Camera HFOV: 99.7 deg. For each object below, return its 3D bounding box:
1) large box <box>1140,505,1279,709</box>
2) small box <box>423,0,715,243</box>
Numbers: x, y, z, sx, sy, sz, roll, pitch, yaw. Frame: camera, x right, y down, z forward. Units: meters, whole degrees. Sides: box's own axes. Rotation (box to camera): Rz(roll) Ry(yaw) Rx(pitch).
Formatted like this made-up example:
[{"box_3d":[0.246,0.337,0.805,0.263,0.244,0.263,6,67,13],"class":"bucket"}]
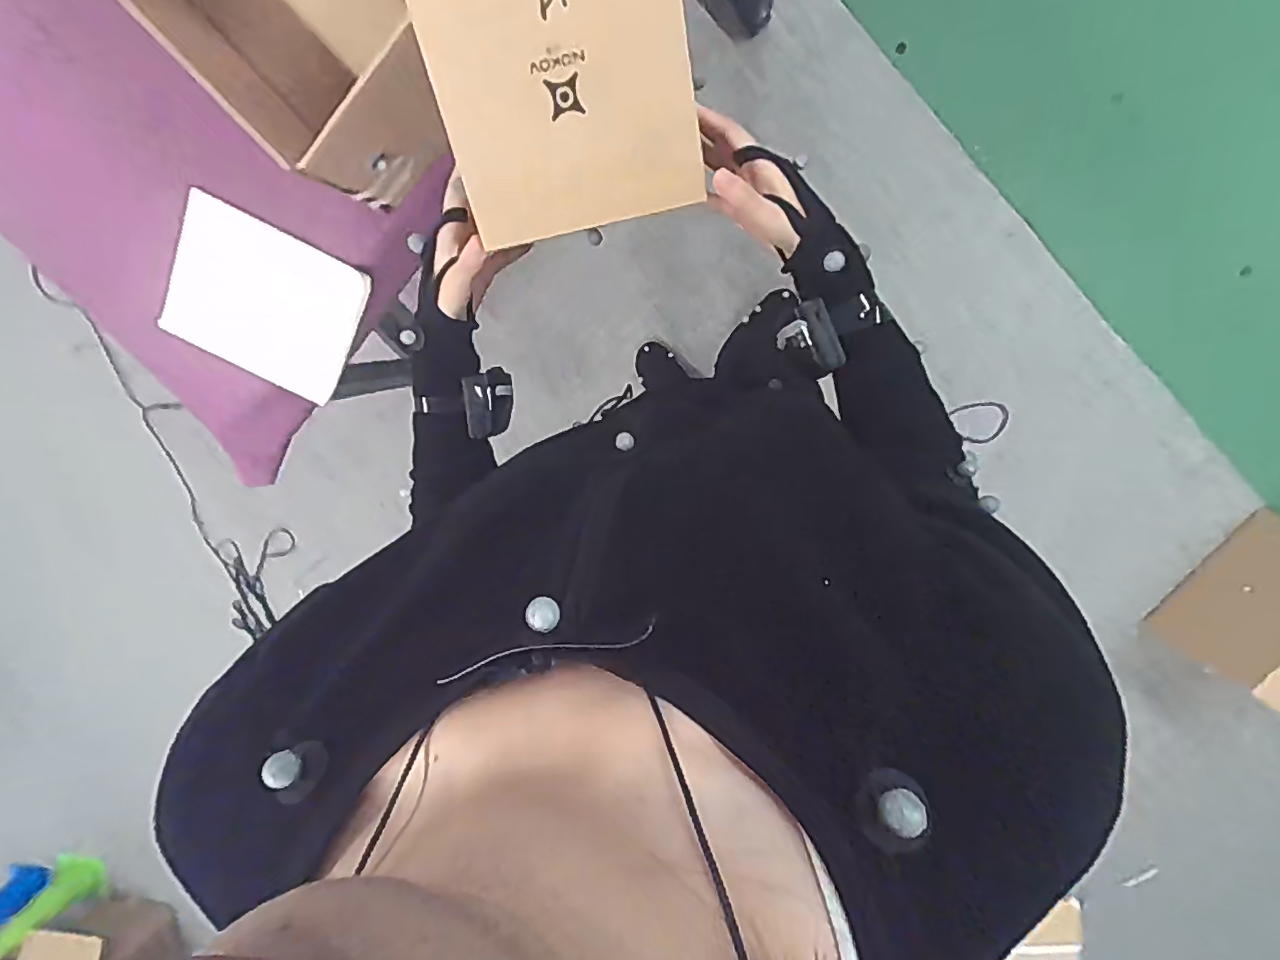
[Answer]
[{"box_3d":[1.576,0.333,1.298,0.320,0.320,0.408,31,105,-4],"class":"large box"},{"box_3d":[-0.044,-0.293,0.410,0.168,0.176,0.179,-11,117,2],"class":"small box"}]
